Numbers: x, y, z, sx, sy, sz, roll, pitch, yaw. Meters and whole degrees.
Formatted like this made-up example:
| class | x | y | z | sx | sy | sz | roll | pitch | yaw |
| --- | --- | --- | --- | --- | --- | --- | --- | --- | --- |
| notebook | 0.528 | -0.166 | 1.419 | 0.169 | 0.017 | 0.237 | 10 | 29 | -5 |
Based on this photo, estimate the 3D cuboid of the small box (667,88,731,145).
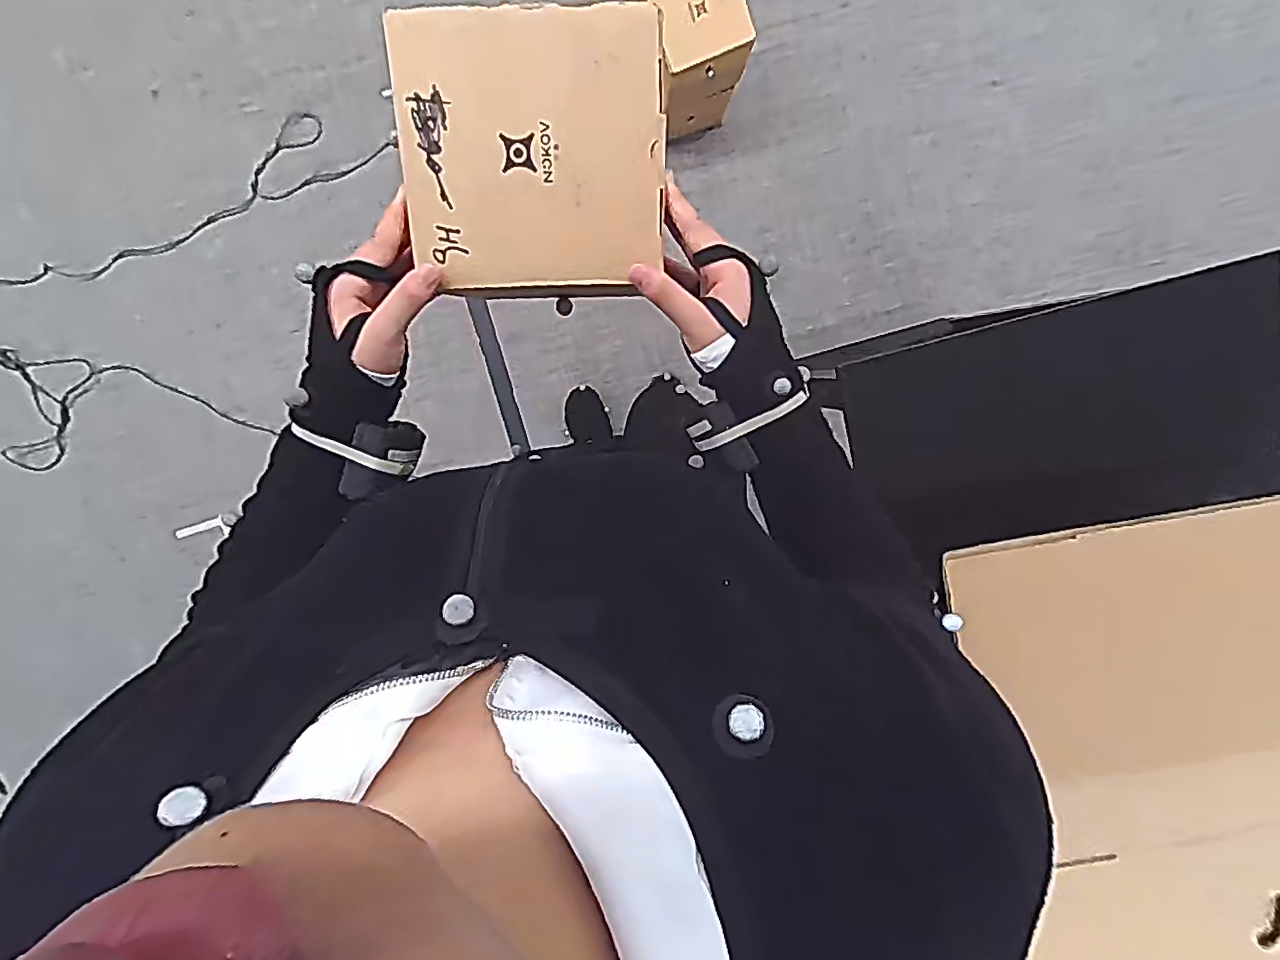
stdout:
| class | x | y | z | sx | sy | sz | roll | pitch | yaw |
| --- | --- | --- | --- | --- | --- | --- | --- | --- | --- |
| small box | 0.093 | -0.913 | 1.254 | 0.179 | 0.176 | 0.168 | -19 | 100 | 3 |

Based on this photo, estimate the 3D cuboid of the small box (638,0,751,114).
| class | x | y | z | sx | sy | sz | roll | pitch | yaw |
| --- | --- | --- | --- | --- | --- | --- | --- | --- | --- |
| small box | 0.103 | -0.886 | 1.093 | 0.179 | 0.176 | 0.168 | -22 | 101 | 2 |

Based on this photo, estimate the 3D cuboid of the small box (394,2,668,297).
| class | x | y | z | sx | sy | sz | roll | pitch | yaw |
| --- | --- | --- | --- | --- | --- | --- | --- | --- | --- |
| small box | -0.072 | -0.243 | 0.440 | 0.179 | 0.176 | 0.168 | -2 | 105 | -2 |
